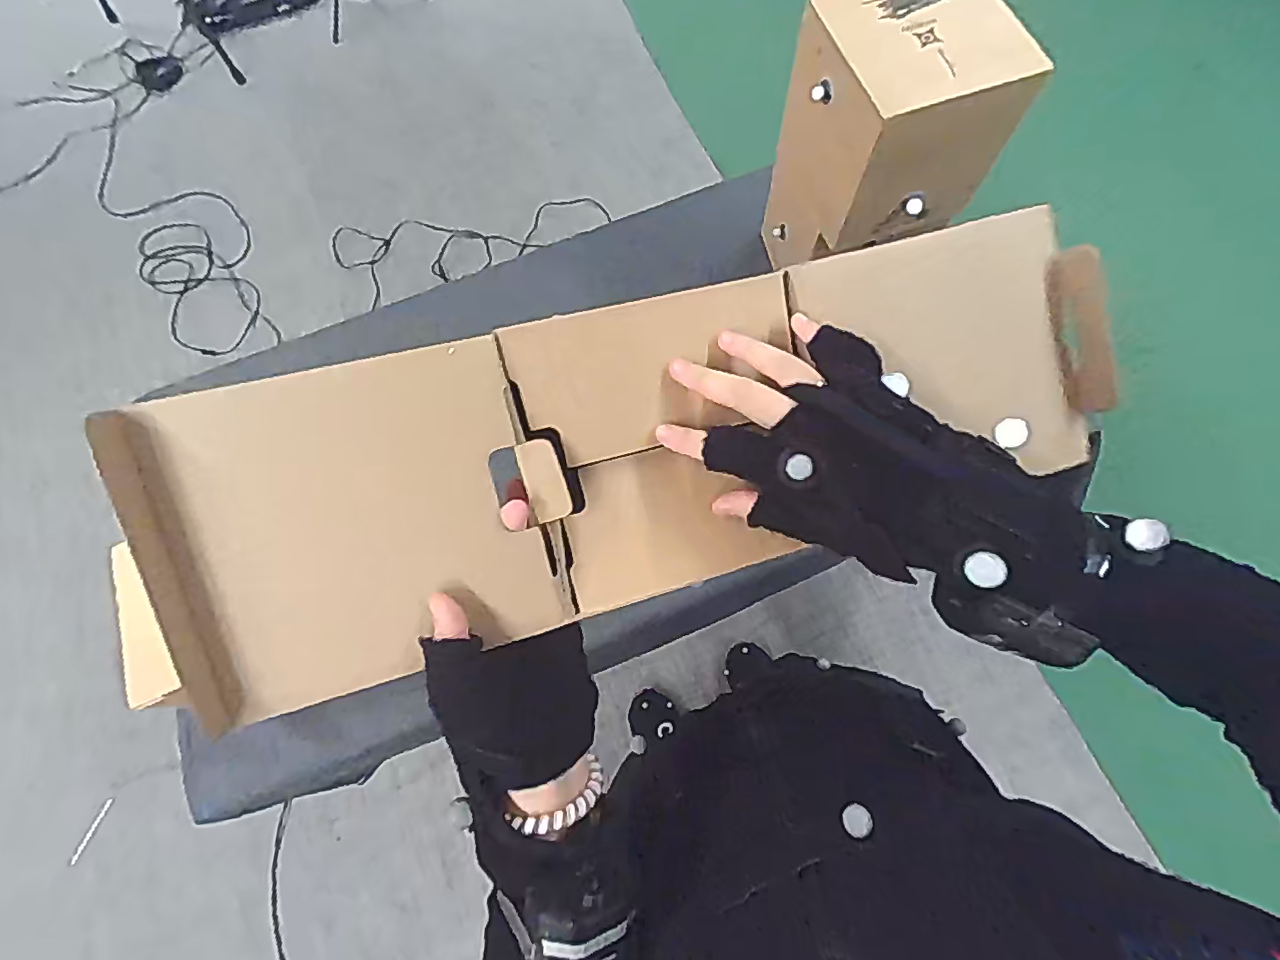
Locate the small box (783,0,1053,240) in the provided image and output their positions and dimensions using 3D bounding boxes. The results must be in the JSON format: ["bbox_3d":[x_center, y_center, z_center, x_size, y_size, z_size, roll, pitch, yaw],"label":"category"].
[{"bbox_3d":[0.270,-0.397,0.577,0.168,0.176,0.179,-17,72,-2],"label":"small box"}]

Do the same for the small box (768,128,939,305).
[{"bbox_3d":[0.283,-0.364,0.739,0.179,0.176,0.168,-11,72,0],"label":"small box"}]

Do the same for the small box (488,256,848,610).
[{"bbox_3d":[0.009,-0.032,0.379,0.179,0.176,0.168,-16,97,-10],"label":"small box"}]
